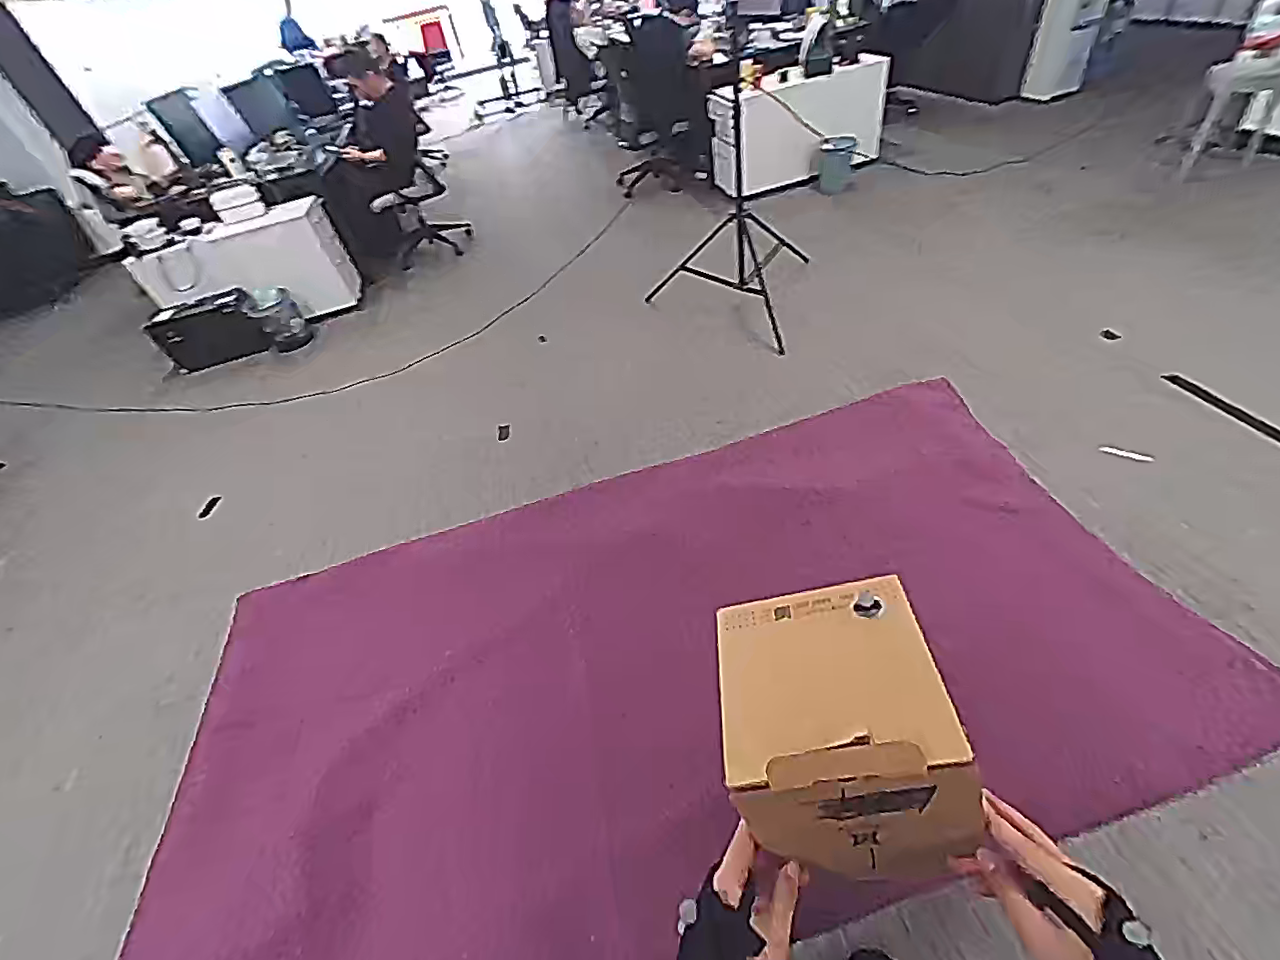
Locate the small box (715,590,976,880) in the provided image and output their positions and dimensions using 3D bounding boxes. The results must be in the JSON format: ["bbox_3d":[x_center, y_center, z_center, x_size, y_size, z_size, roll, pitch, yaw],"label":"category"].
[{"bbox_3d":[0.169,0.216,0.476,0.168,0.179,0.176,-16,33,15],"label":"small box"}]
